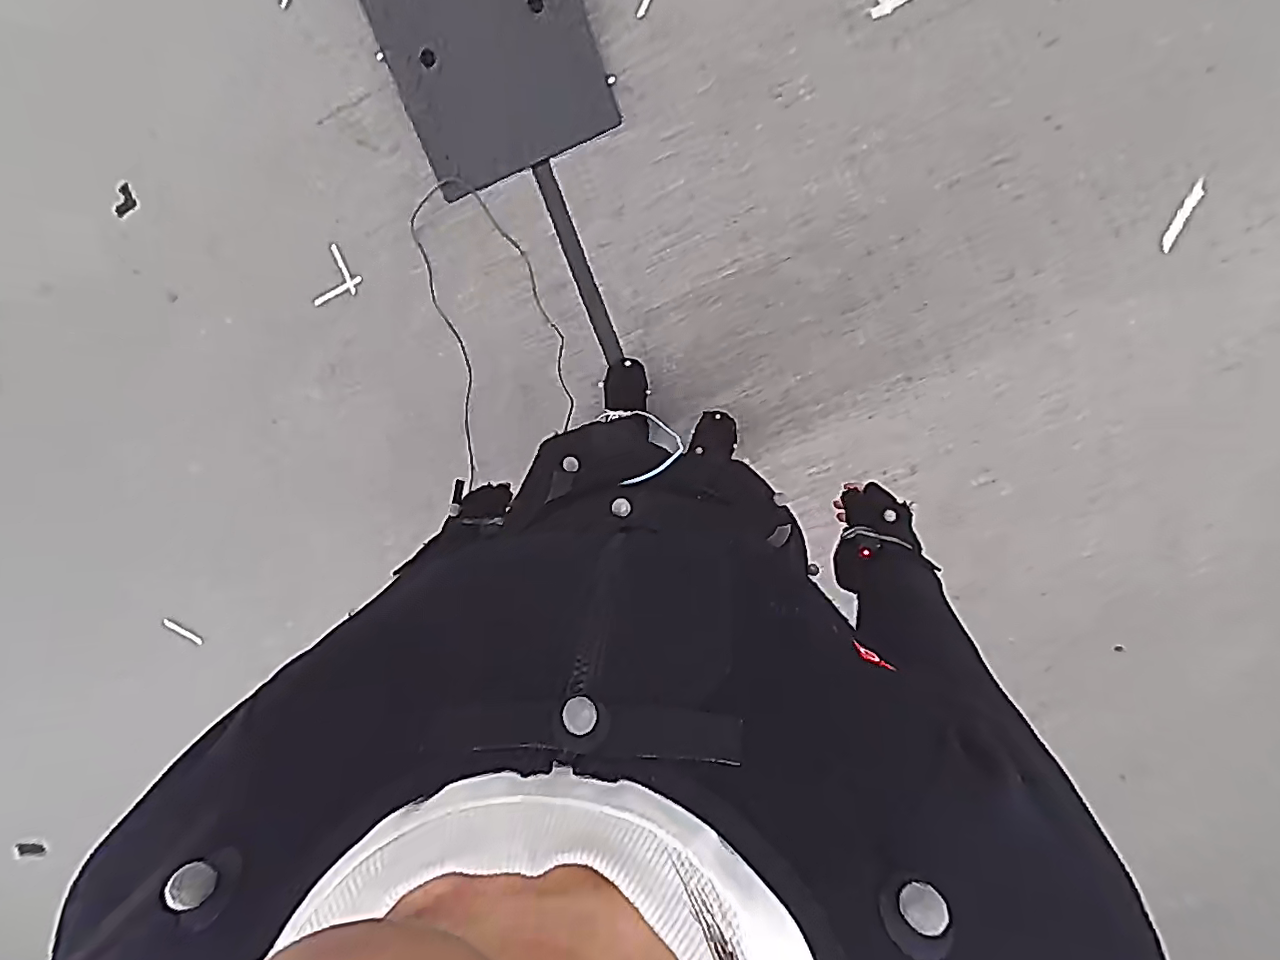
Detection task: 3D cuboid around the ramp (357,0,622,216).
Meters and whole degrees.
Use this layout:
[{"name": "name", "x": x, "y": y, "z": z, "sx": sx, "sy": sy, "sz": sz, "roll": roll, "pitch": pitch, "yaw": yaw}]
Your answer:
[{"name": "ramp", "x": -0.444, "y": -1.217, "z": 1.259, "sx": 0.509, "sy": 0.206, "sz": 0.991, "roll": -22, "pitch": 95, "yaw": 9}]
